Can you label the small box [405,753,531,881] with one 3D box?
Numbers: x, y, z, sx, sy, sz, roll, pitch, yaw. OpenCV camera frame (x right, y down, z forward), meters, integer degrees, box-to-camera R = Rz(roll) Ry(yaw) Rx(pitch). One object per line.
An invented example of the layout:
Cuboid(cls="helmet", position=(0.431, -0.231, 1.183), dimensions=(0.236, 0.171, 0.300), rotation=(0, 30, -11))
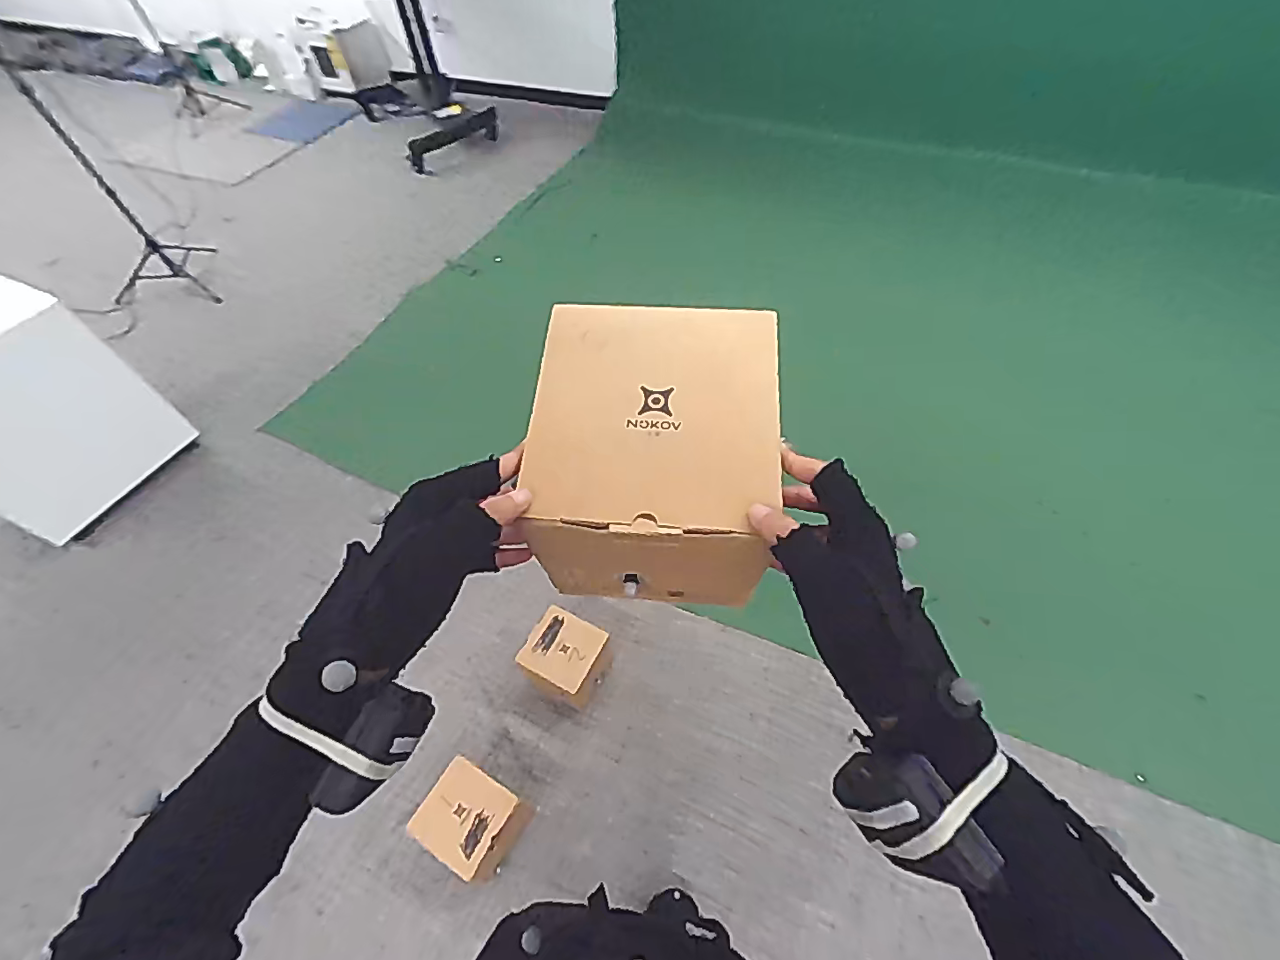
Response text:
Cuboid(cls="small box", position=(-0.361, 0.729, 1.172), dimensions=(0.179, 0.176, 0.168), rotation=(24, 58, 20))
